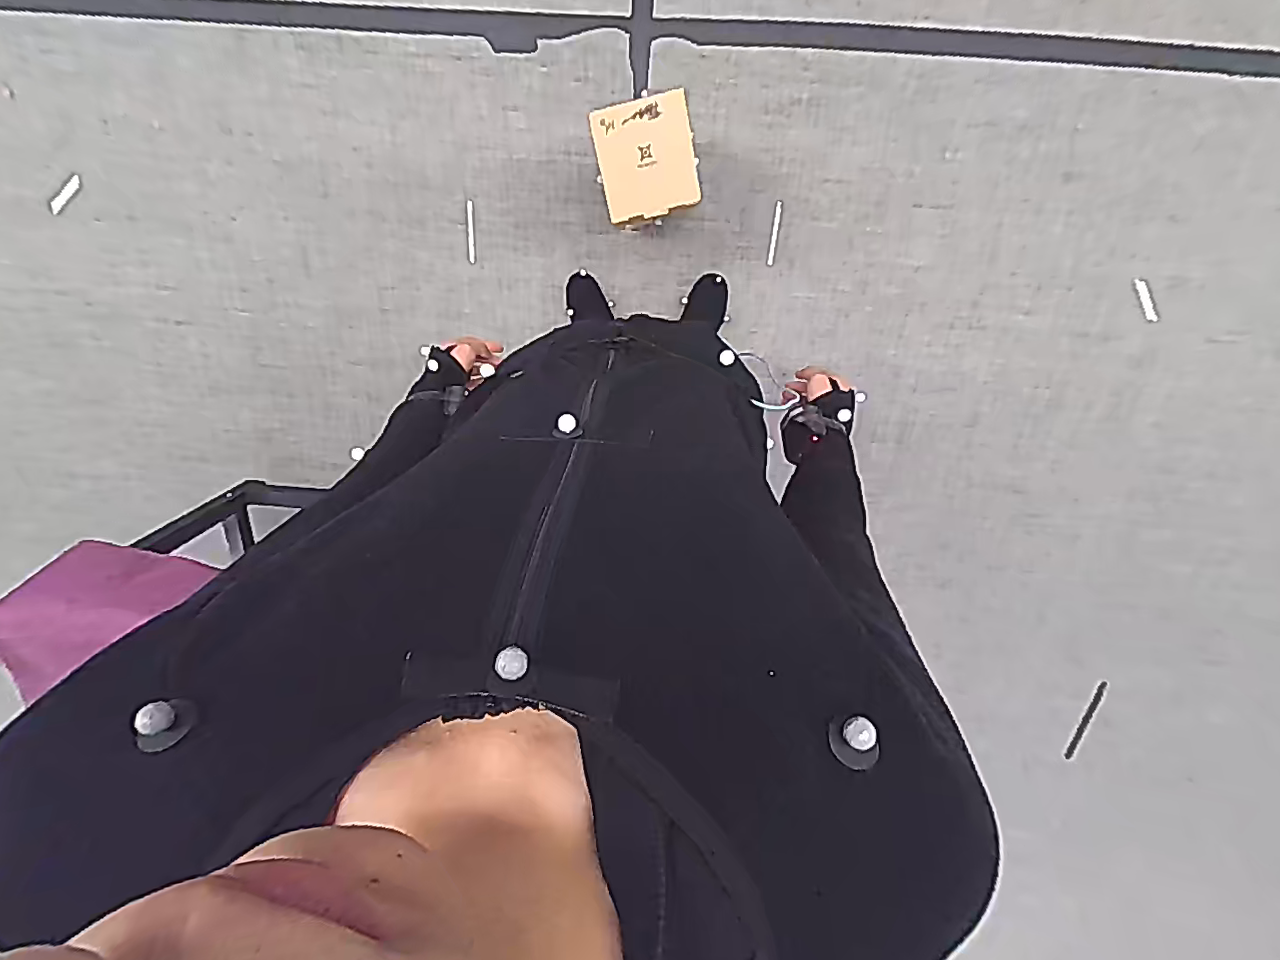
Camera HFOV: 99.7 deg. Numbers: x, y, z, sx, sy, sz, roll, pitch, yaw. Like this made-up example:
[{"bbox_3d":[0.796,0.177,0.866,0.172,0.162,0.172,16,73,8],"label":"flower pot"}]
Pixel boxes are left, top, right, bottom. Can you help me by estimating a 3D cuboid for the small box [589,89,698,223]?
[{"bbox_3d":[0.013,-0.590,1.006,0.168,0.176,0.179,-10,113,6],"label":"small box"}]
